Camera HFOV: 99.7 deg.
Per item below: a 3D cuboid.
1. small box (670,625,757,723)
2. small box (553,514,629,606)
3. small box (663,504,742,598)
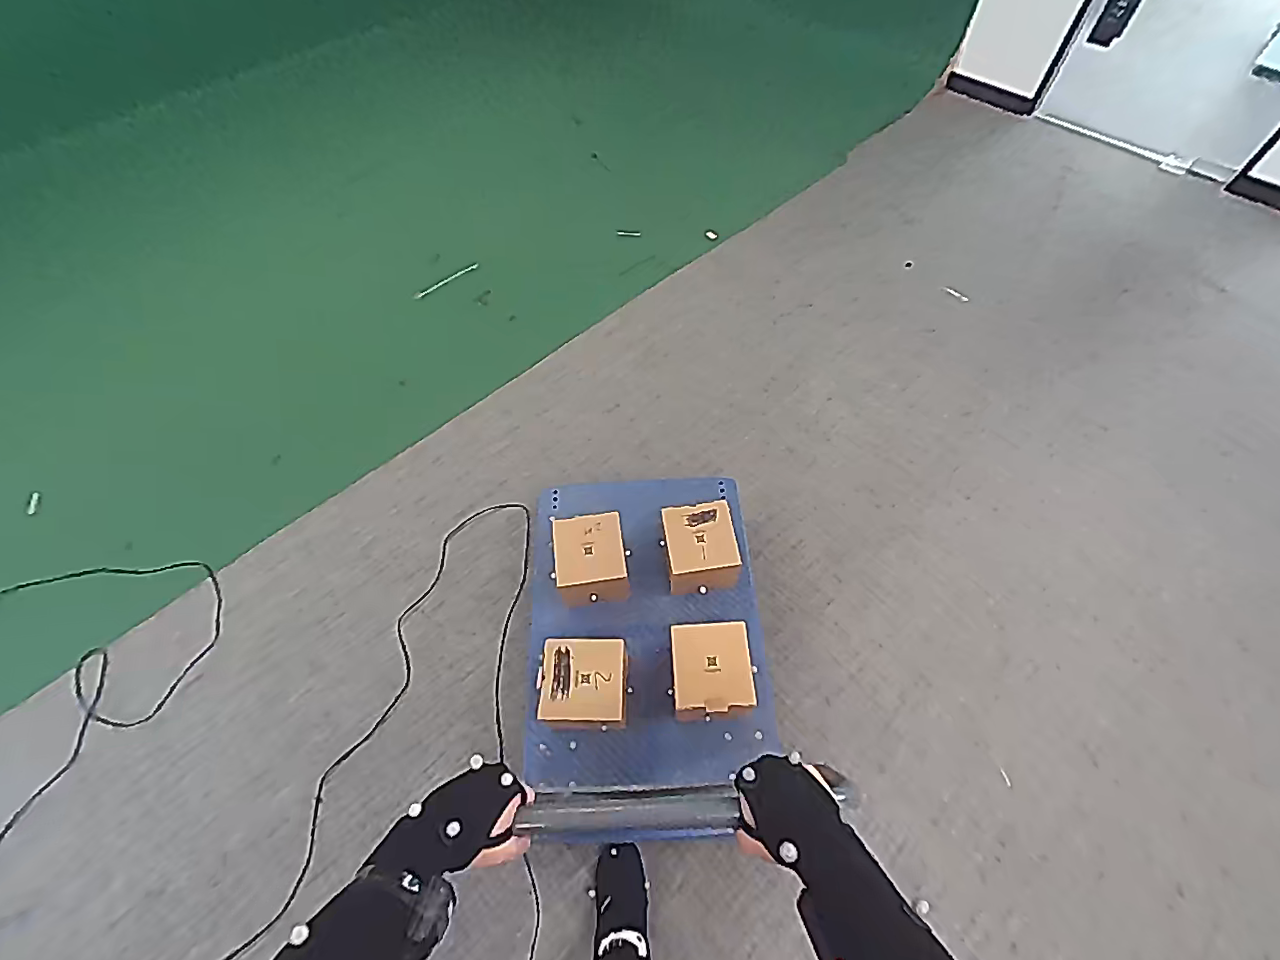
[{"bbox_3d":[0.156,0.436,1.209,0.168,0.176,0.179,-3,60,1],"label":"small box"},{"bbox_3d":[-0.119,0.207,1.353,0.168,0.176,0.179,-7,60,-3],"label":"small box"},{"bbox_3d":[0.149,0.181,1.359,0.168,0.176,0.179,-7,60,-2],"label":"small box"}]
